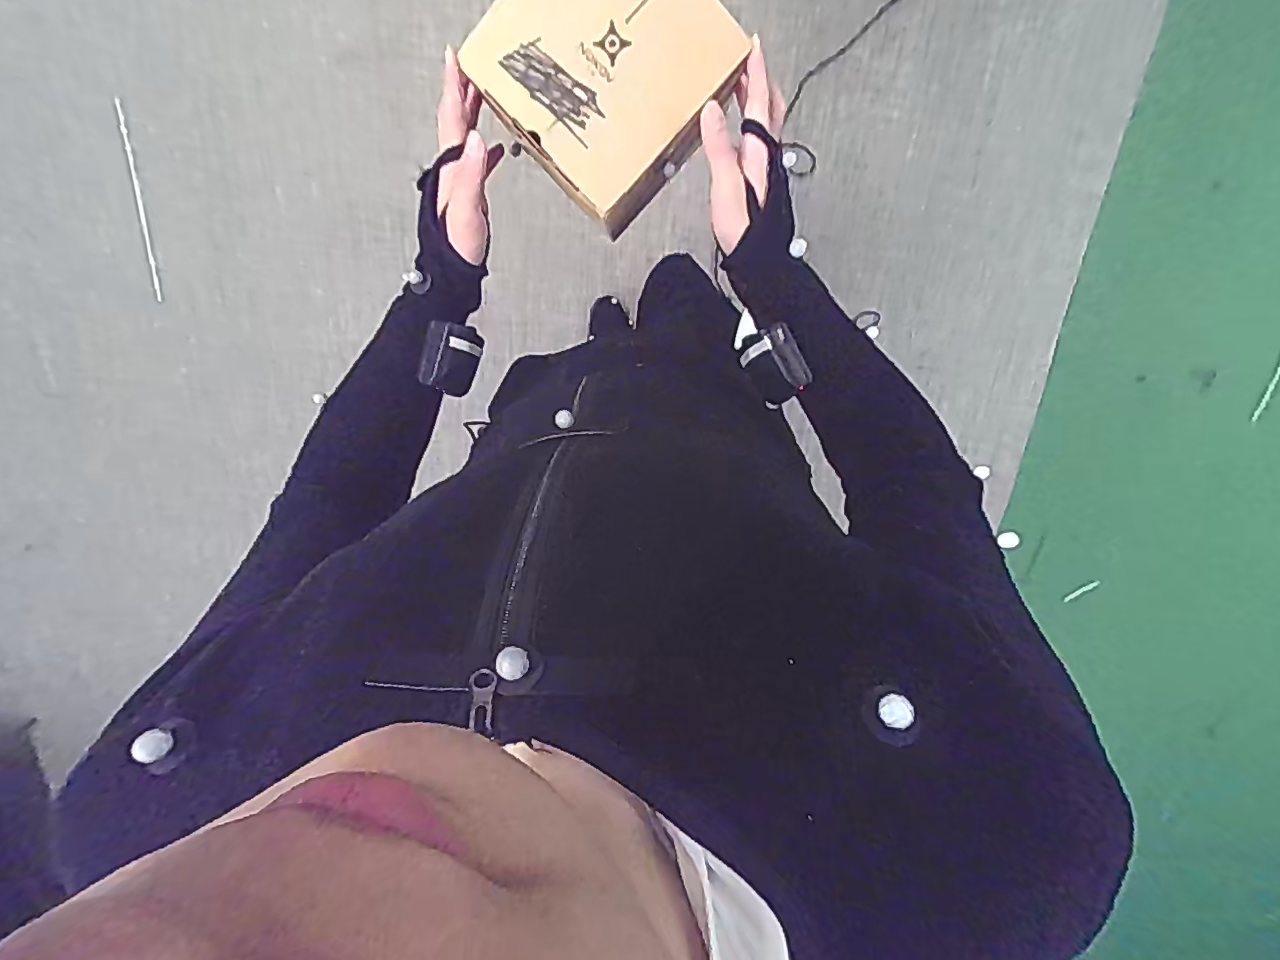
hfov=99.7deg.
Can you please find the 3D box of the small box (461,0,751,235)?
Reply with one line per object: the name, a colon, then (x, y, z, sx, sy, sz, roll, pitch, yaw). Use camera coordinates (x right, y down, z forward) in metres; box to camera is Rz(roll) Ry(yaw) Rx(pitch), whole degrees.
small box: (-0.026, -0.359, 0.503, 0.179, 0.176, 0.168, -44, 102, 11)
